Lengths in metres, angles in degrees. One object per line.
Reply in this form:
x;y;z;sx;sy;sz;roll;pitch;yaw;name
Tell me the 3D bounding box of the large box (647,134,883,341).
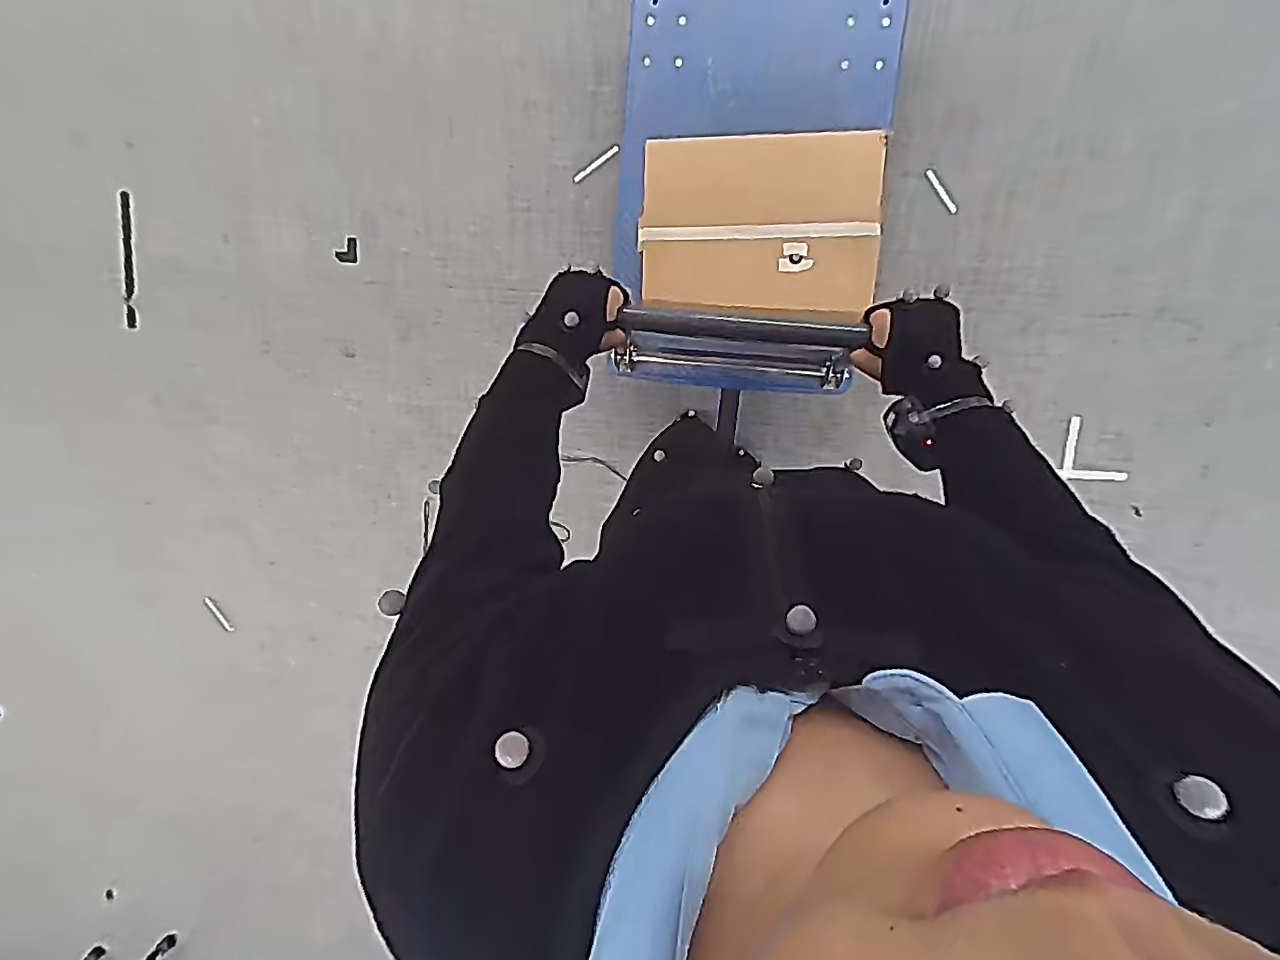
0.226;-0.456;1.096;0.408;0.320;0.320;2;100;6;large box
